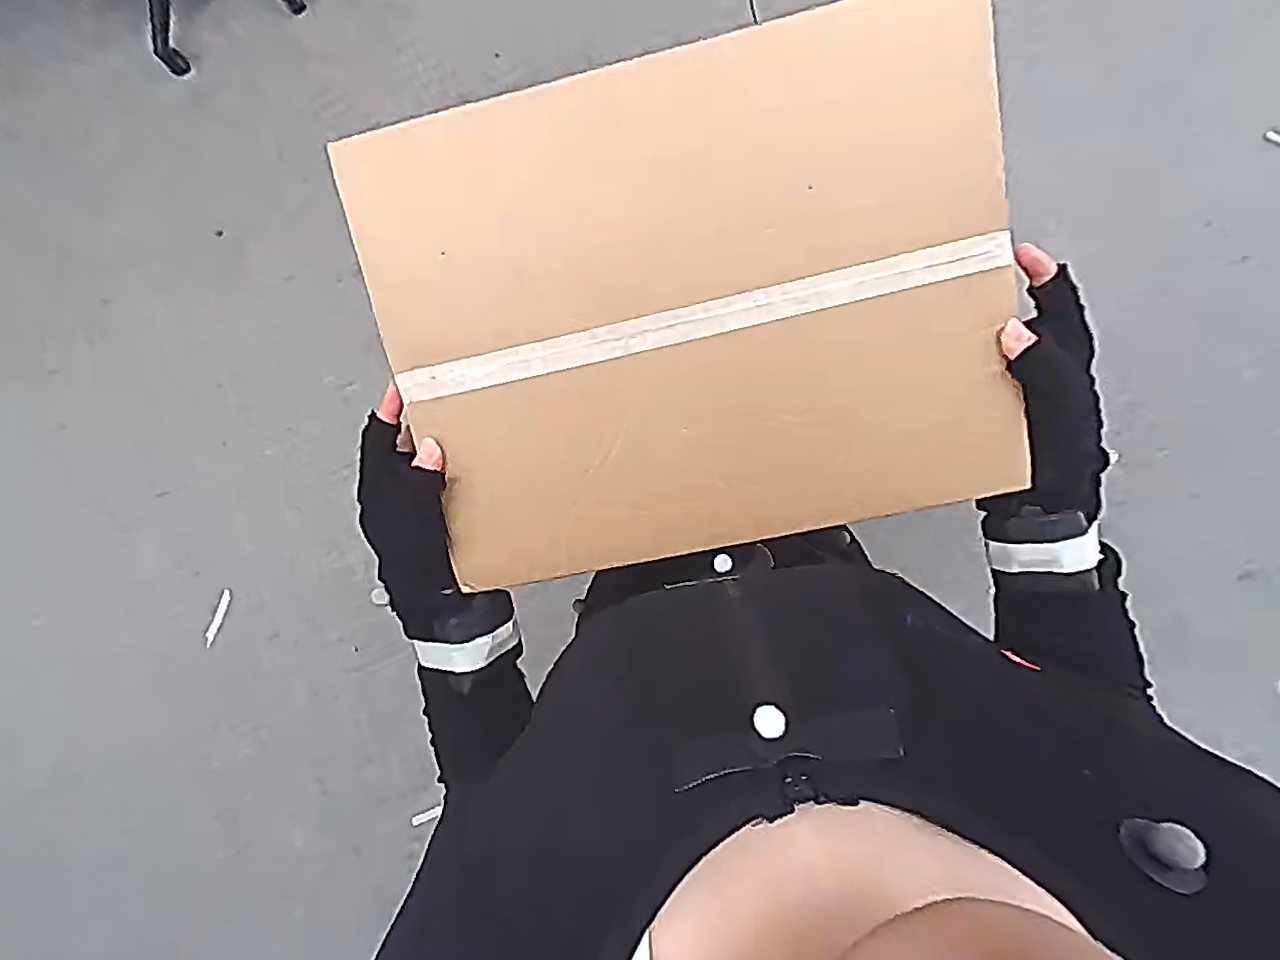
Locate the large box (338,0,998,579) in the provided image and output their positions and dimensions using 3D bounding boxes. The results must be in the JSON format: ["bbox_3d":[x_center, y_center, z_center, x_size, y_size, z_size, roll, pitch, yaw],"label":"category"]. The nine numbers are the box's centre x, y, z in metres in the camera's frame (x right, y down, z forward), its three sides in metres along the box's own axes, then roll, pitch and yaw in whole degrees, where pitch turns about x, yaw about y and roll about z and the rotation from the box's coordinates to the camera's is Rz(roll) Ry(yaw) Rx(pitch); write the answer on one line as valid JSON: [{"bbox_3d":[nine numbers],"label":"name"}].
[{"bbox_3d":[0.034,-0.143,0.510,0.408,0.320,0.320,-11,101,5],"label":"large box"}]
